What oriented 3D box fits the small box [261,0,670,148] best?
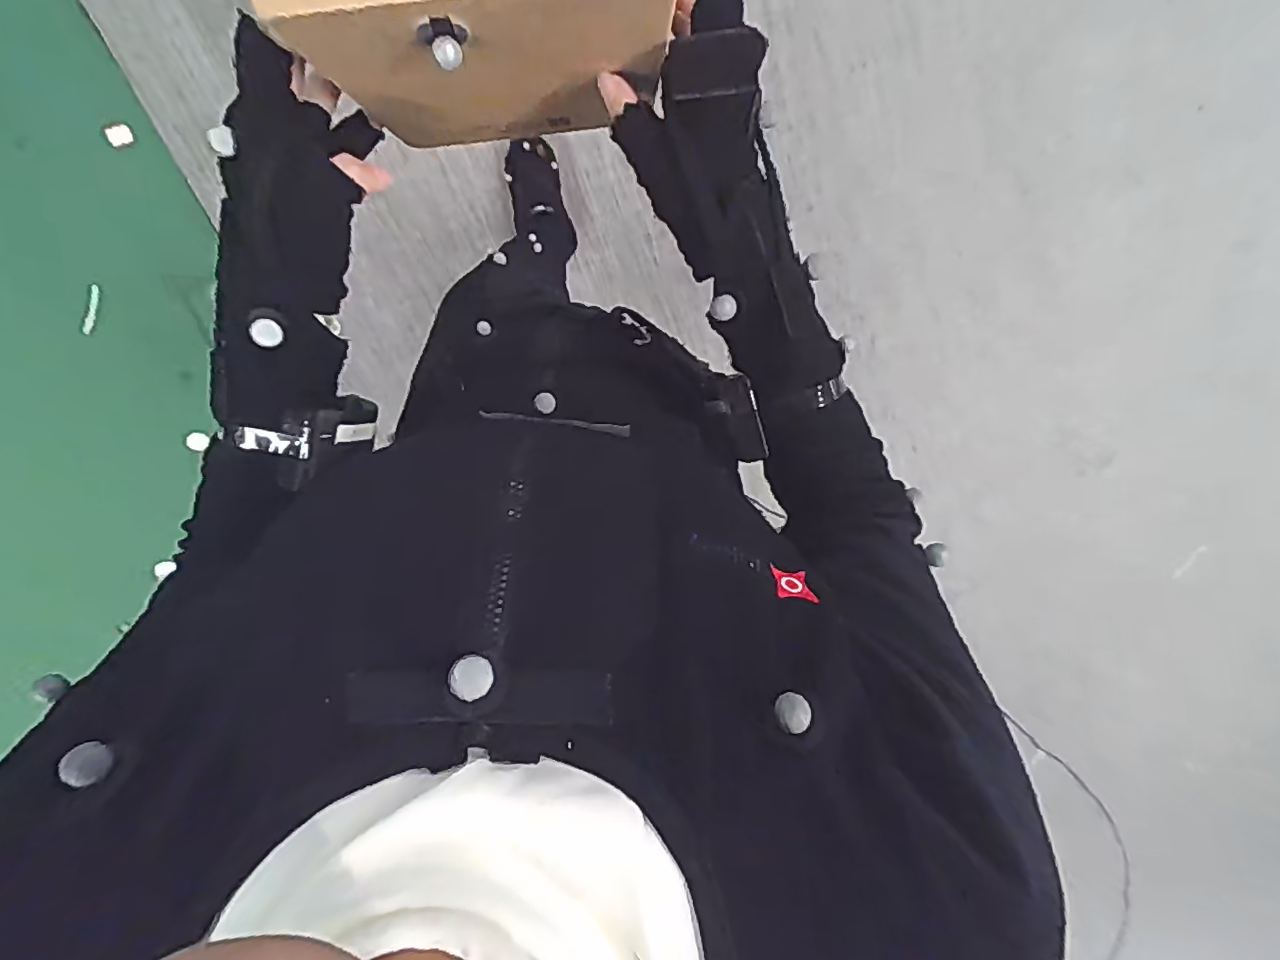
[{"bbox_3d":[-0.080,-0.292,0.262,0.168,0.176,0.179,-7,106,0],"label":"small box"}]
